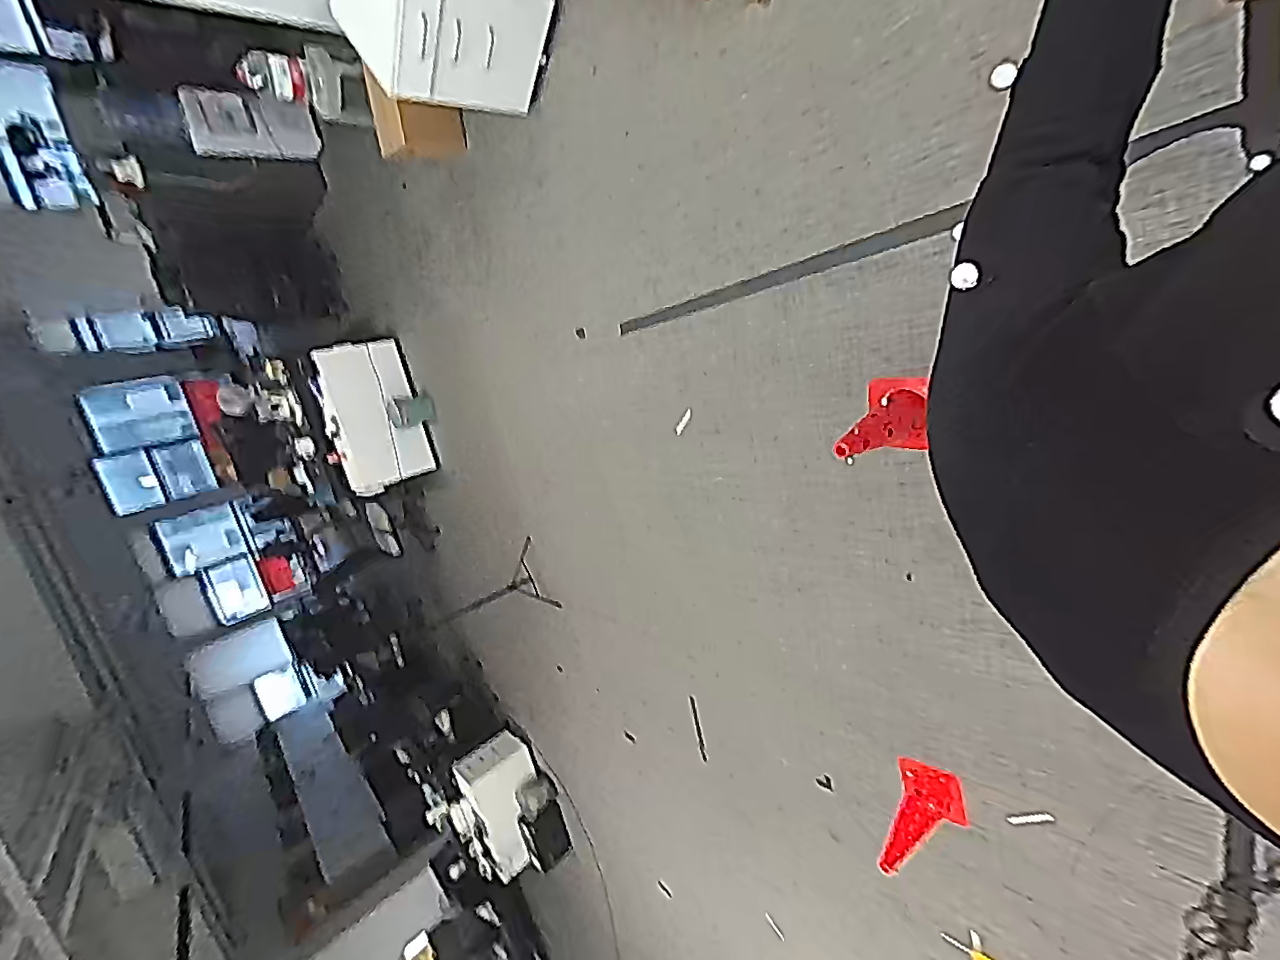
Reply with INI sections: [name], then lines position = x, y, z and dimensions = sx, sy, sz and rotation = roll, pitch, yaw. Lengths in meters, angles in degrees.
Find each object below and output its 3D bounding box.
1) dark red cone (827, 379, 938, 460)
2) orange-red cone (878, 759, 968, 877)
[dark red cone]
position = 0.586, -0.122, 1.367
dimensions = 0.201, 0.394, 0.202
rotation = 9, 115, 47
[orange-red cone]
position = 0.855, 1.104, 1.707
dimensions = 0.198, 0.360, 0.199
rotation = -2, 108, 52
